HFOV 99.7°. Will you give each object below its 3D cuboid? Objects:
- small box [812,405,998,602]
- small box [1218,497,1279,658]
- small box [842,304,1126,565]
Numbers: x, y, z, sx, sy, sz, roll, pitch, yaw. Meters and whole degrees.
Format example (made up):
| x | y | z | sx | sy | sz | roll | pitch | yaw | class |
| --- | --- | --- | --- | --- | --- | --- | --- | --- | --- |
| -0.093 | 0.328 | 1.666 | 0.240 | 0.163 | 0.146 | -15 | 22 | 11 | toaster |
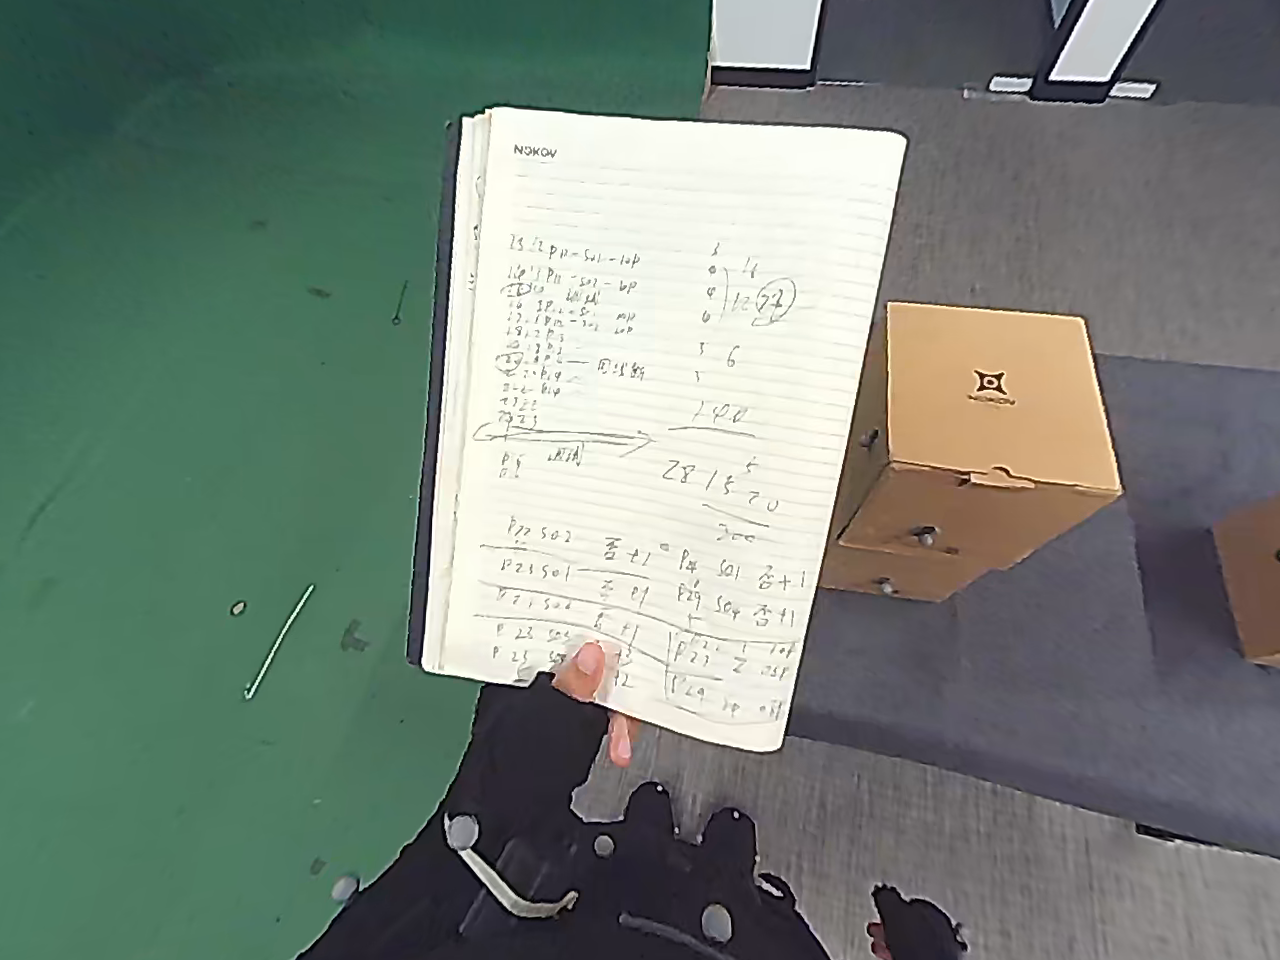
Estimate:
| x | y | z | sx | sy | sz | roll | pitch | yaw | class |
| --- | --- | --- | --- | --- | --- | --- | --- | --- | --- |
| 0.312 | 0.033 | 0.663 | 0.168 | 0.176 | 0.179 | 6 | 62 | 9 | small box |
| 0.795 | 0.109 | 0.578 | 0.168 | 0.176 | 0.179 | 10 | 62 | 10 | small box |
| 0.298 | -0.038 | 0.517 | 0.168 | 0.176 | 0.179 | 7 | 62 | 9 | small box |
